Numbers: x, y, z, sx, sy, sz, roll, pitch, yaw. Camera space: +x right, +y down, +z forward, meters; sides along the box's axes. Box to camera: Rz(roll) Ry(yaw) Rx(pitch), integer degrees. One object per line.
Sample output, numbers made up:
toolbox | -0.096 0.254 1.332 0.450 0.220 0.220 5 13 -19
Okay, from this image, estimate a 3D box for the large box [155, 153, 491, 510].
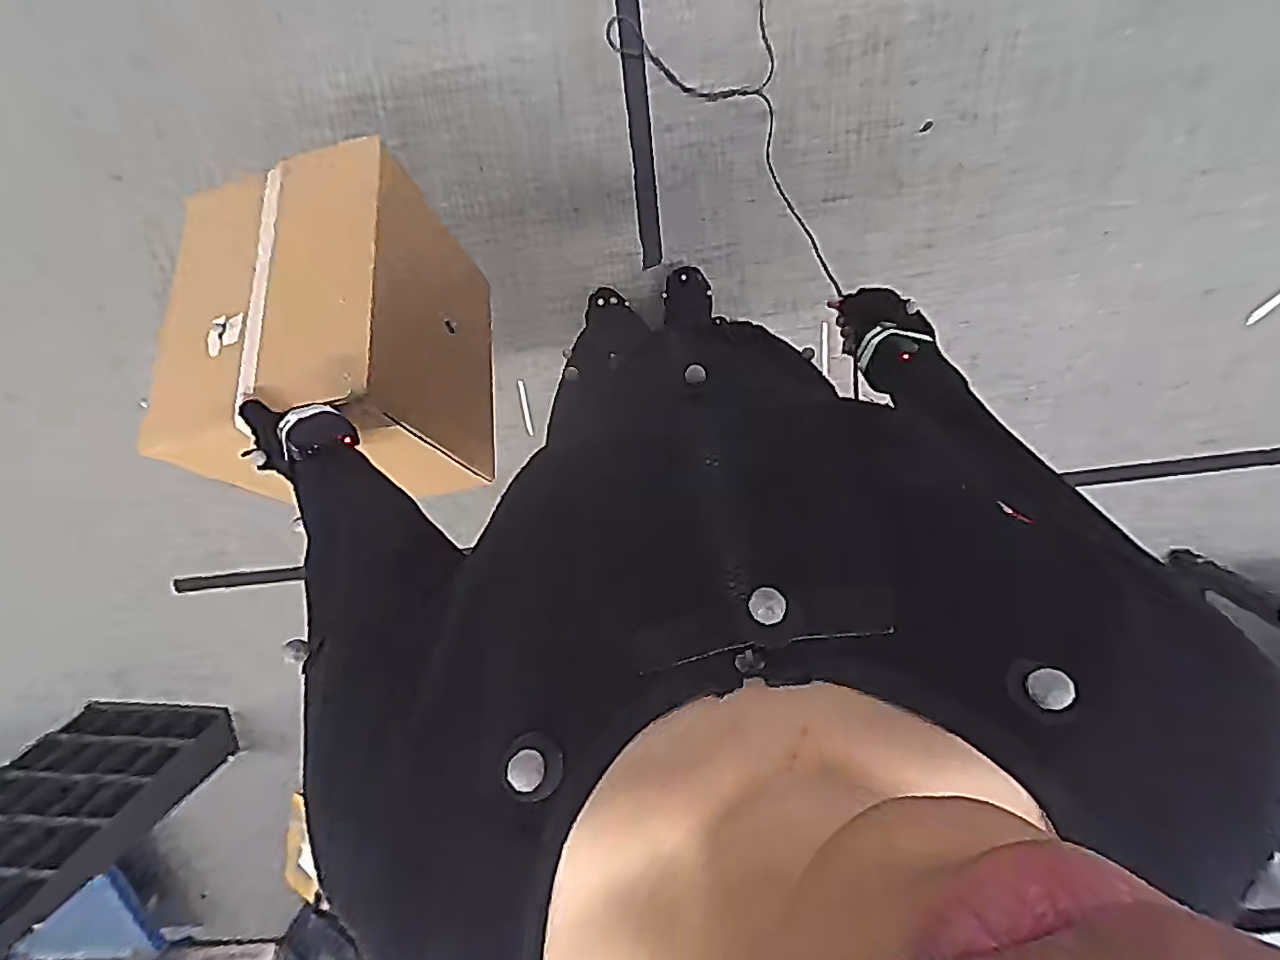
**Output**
large box | -0.447 -0.204 0.850 0.320 0.320 0.408 -11 69 10
